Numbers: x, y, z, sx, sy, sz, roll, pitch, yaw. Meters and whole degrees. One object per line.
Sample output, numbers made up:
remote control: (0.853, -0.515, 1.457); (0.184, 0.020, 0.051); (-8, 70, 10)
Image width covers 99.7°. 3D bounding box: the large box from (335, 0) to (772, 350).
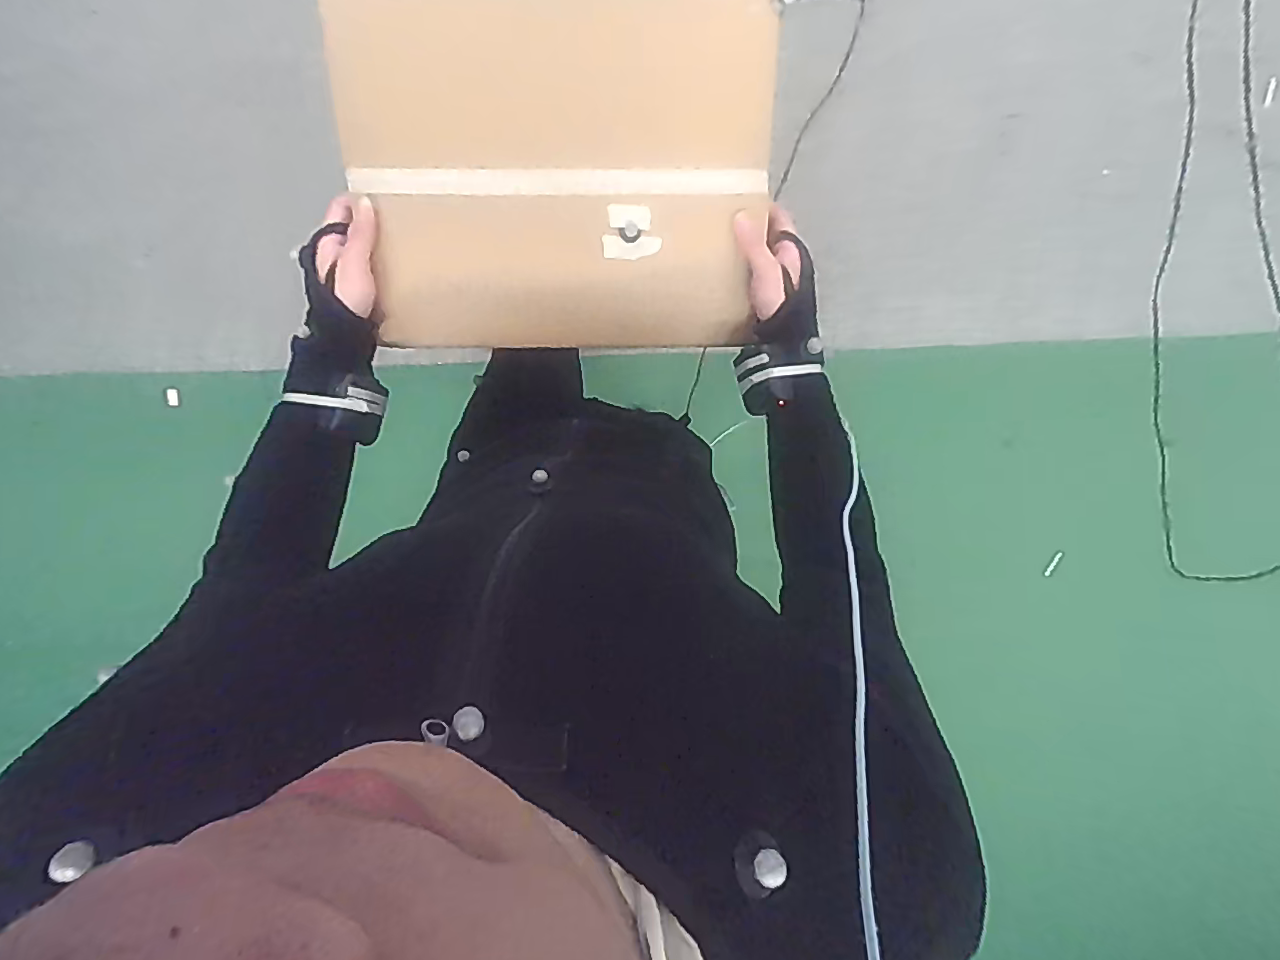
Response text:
large box: (-0.084, -0.342, 0.678); (0.408, 0.320, 0.320); (-1, 111, -3)
